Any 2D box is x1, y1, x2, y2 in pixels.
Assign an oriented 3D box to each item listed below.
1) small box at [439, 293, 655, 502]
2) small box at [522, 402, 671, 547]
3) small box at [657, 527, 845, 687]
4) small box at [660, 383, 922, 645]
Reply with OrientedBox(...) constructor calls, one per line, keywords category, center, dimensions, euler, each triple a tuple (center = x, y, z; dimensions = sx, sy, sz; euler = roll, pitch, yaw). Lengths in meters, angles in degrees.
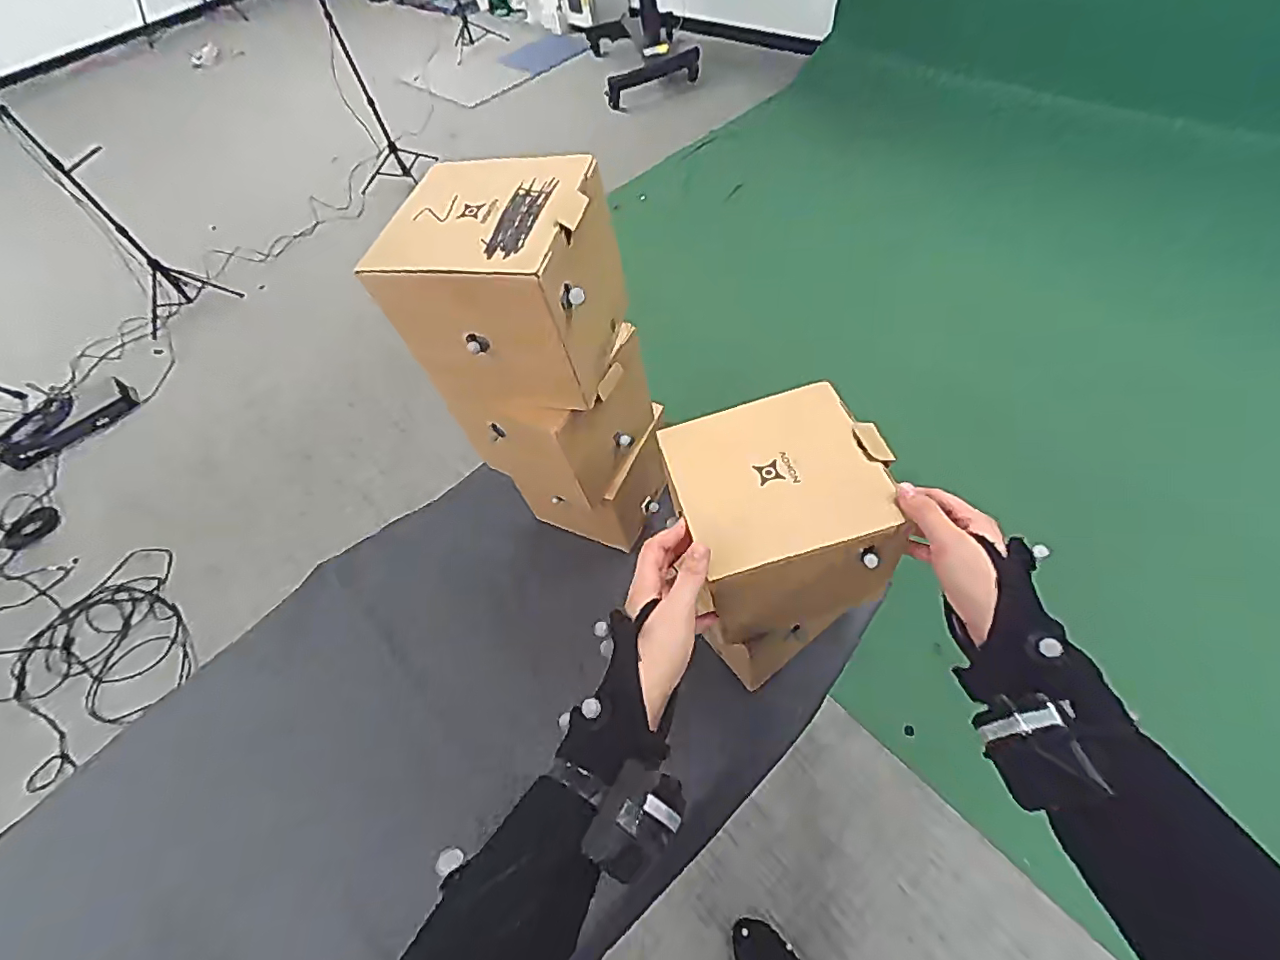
OrientedBox(category="small box", center=(-0.101, -0.096, 0.667), dimensions=(0.179, 0.176, 0.168), euler=(22, 66, 22))
OrientedBox(category="small box", center=(-0.061, -0.021, 0.810), dimensions=(0.179, 0.176, 0.168), euler=(19, 64, 19))
OrientedBox(category="small box", center=(0.149, 0.124, 0.669), dimensions=(0.179, 0.176, 0.168), euler=(-36, 55, -12))
OrientedBox(category="small box", center=(0.132, 0.041, 0.524), dimensions=(0.179, 0.176, 0.168), euler=(-17, 55, 0))
